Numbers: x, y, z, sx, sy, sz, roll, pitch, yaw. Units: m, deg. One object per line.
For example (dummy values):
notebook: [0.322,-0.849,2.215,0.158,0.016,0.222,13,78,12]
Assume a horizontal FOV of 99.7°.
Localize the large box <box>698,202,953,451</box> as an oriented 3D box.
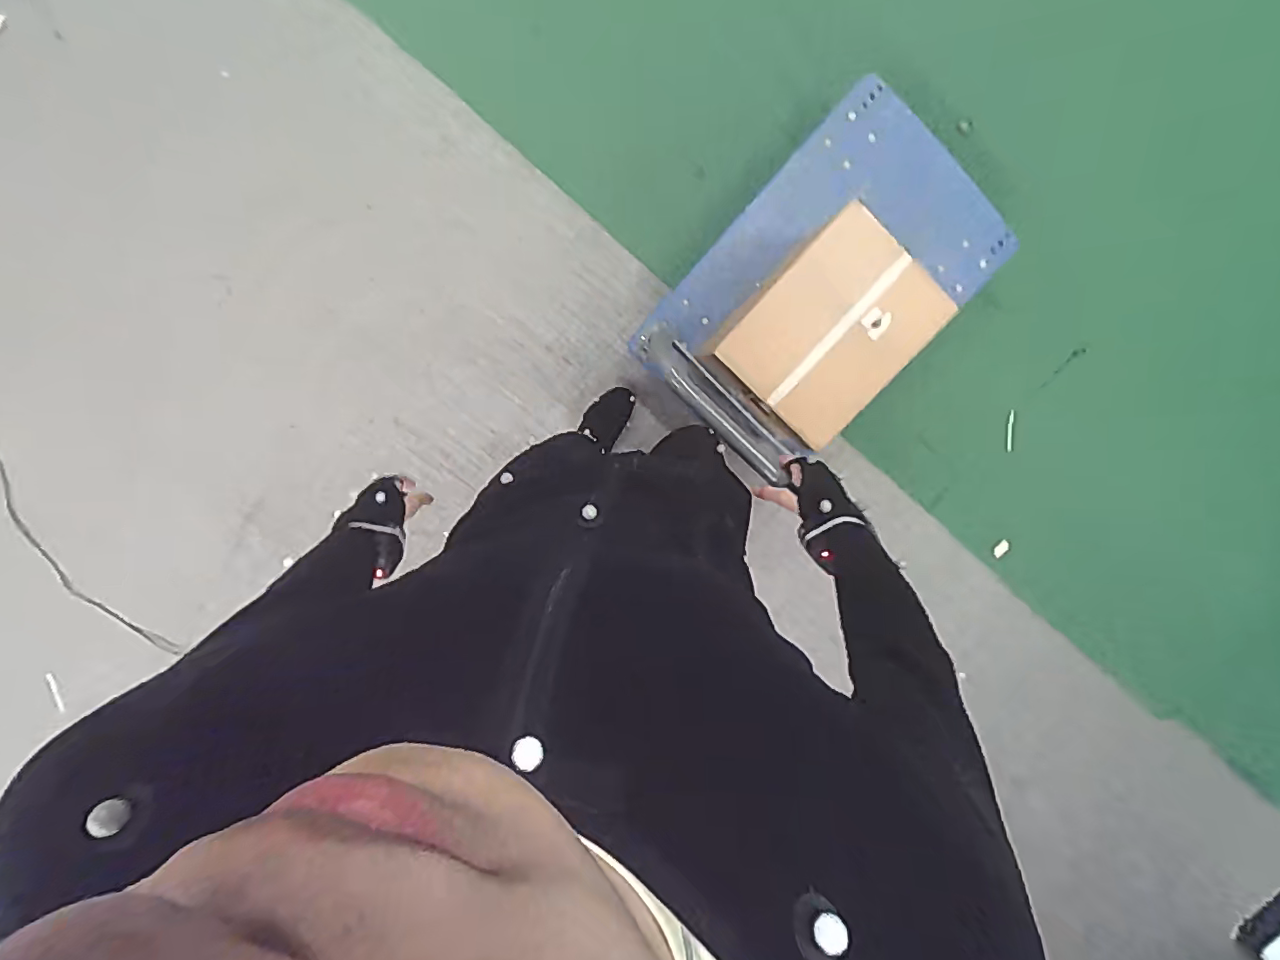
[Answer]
large box: [0.392,-0.327,1.244,0.320,0.320,0.408,42,96,-9]
